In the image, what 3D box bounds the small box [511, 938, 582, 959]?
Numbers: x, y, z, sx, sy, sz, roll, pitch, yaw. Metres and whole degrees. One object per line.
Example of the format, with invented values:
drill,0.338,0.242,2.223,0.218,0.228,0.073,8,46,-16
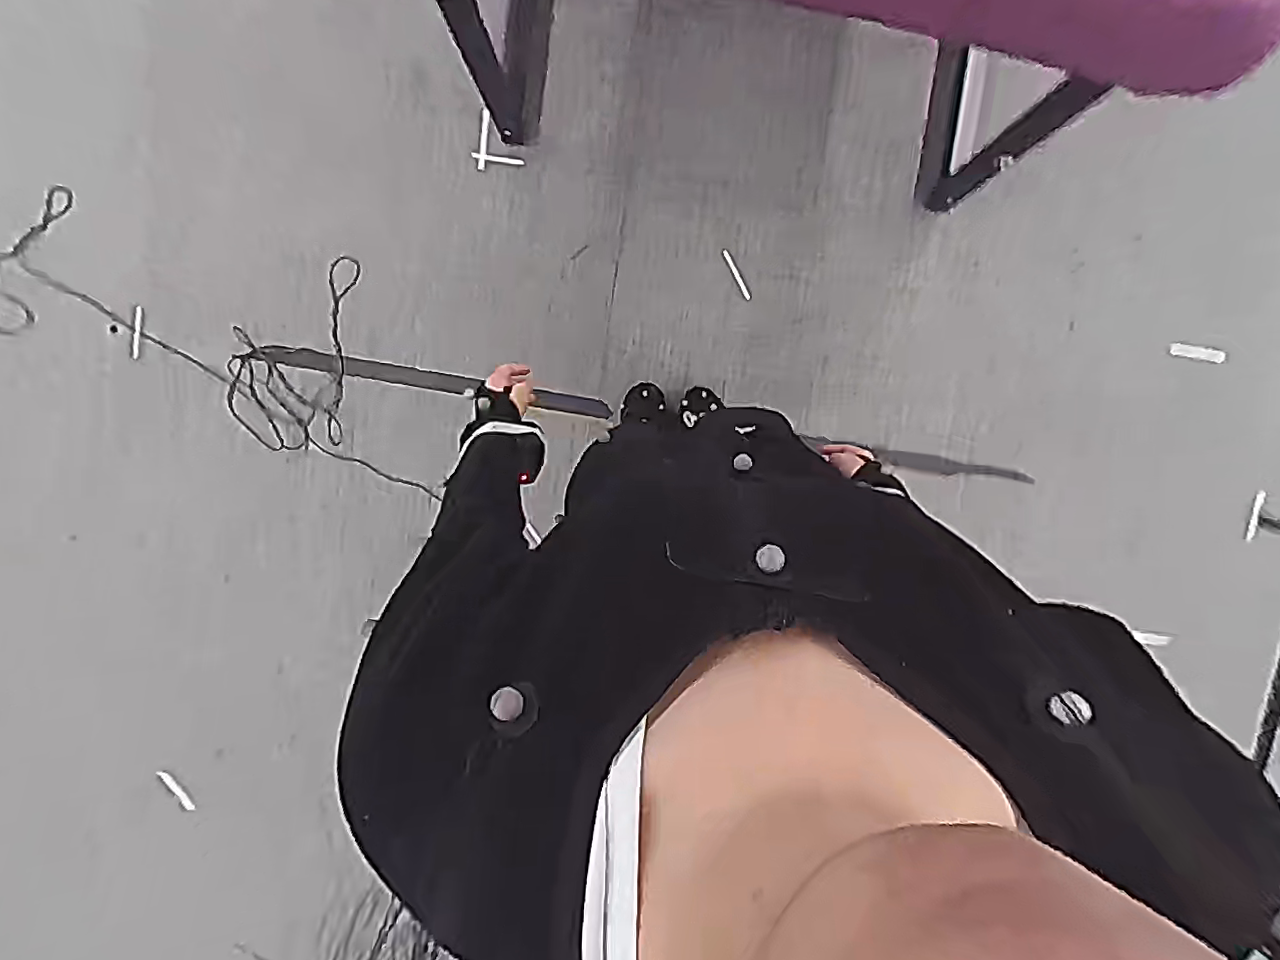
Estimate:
small box,-0.228,1.210,1.236,0.168,0.176,0.179,6,95,-1
